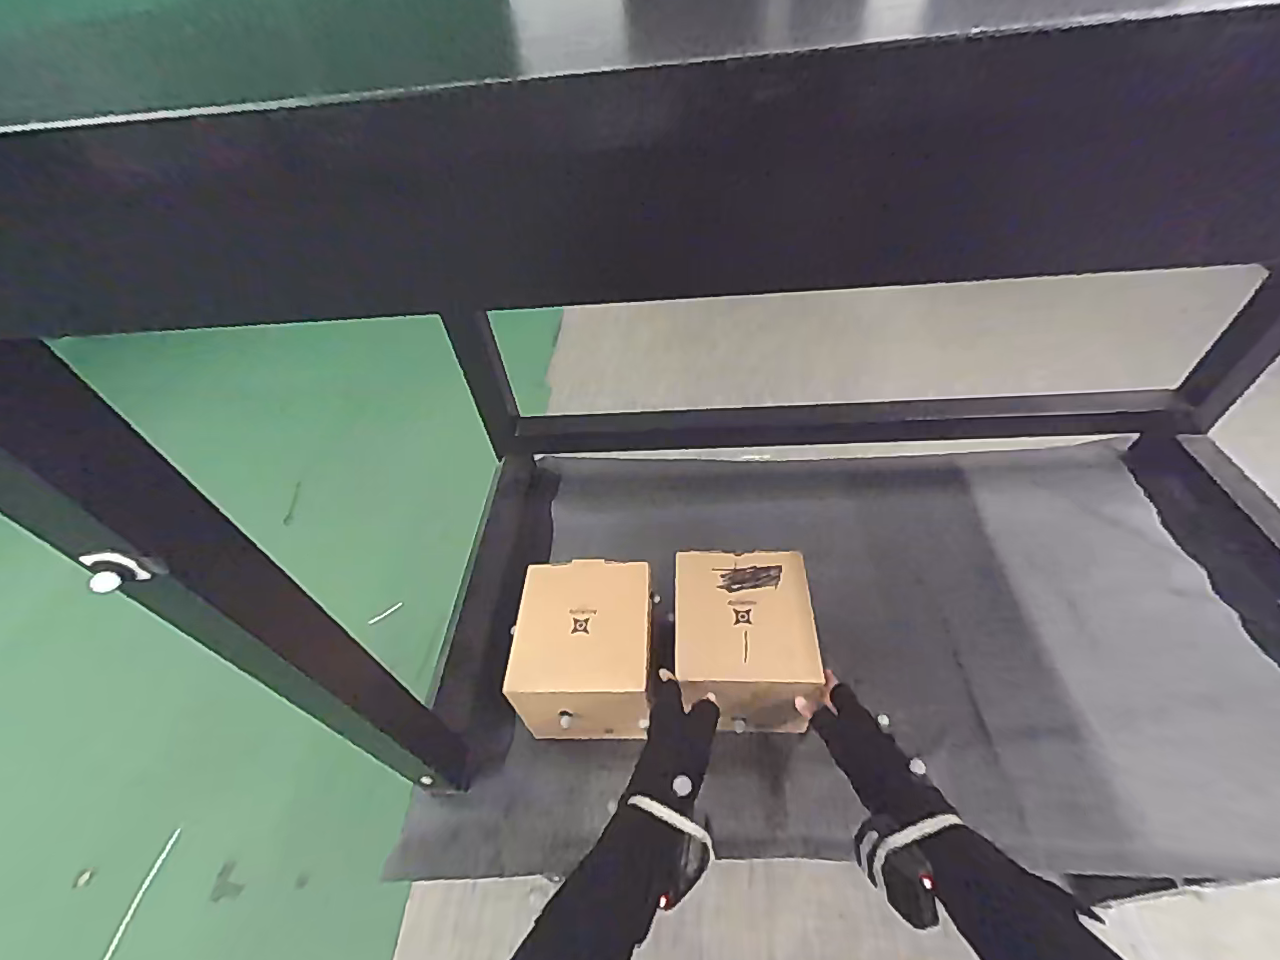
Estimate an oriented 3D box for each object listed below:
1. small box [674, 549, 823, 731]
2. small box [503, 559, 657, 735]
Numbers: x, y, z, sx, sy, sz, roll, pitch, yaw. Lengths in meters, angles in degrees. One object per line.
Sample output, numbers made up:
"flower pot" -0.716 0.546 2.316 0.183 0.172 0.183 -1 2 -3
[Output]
"small box" 0.131 0.208 0.709 0.168 0.176 0.179 -2 48 6
"small box" -0.065 0.225 0.720 0.168 0.176 0.179 -2 47 5
